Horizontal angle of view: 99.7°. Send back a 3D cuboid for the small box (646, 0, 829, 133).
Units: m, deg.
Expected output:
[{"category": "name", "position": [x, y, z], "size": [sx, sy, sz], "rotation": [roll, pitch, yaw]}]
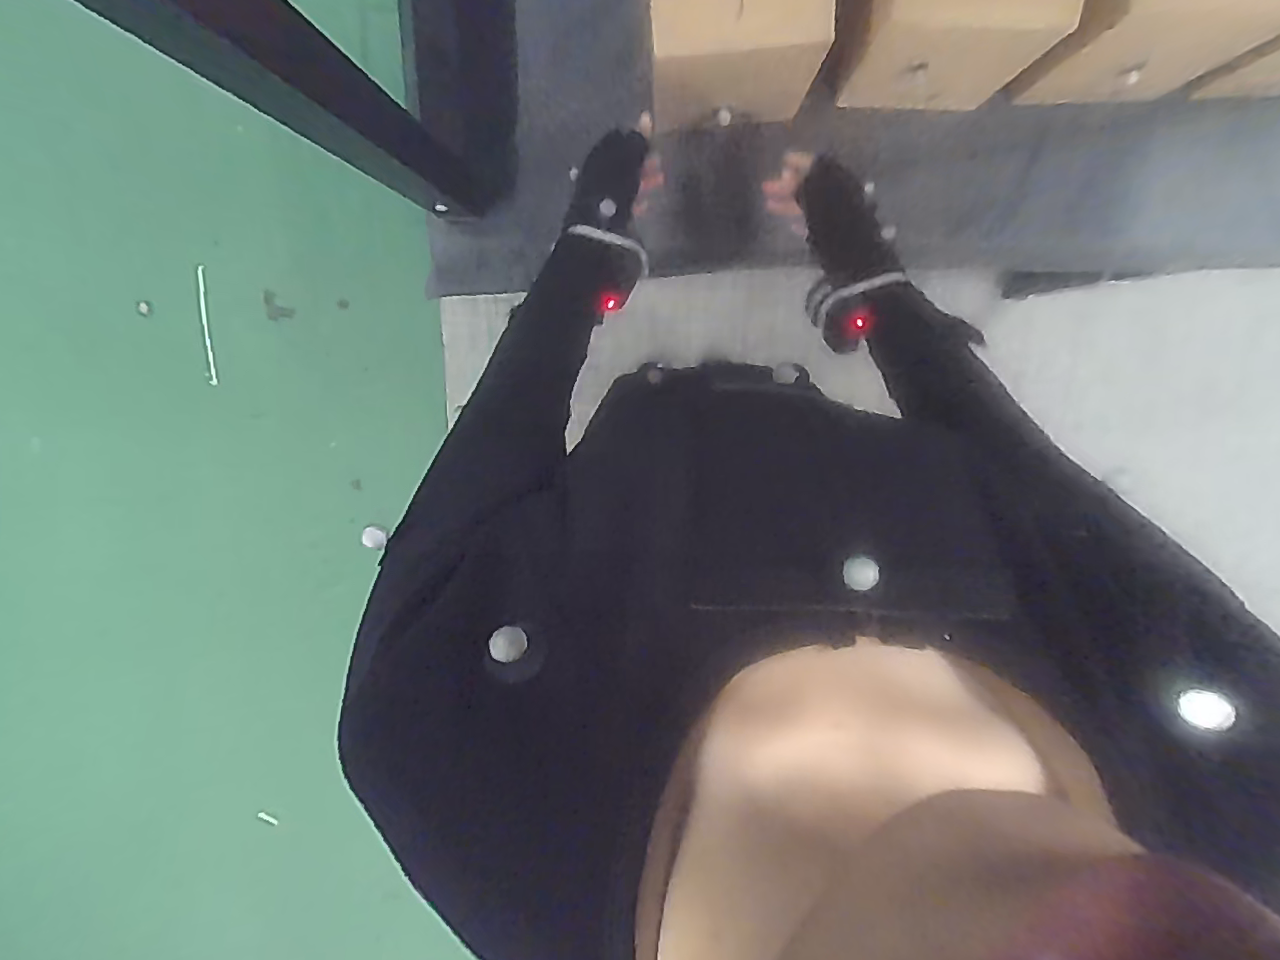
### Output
[{"category": "small box", "position": [0.090, -0.495, 0.561], "size": [0.168, 0.176, 0.179], "rotation": [-3, 103, 4]}]
